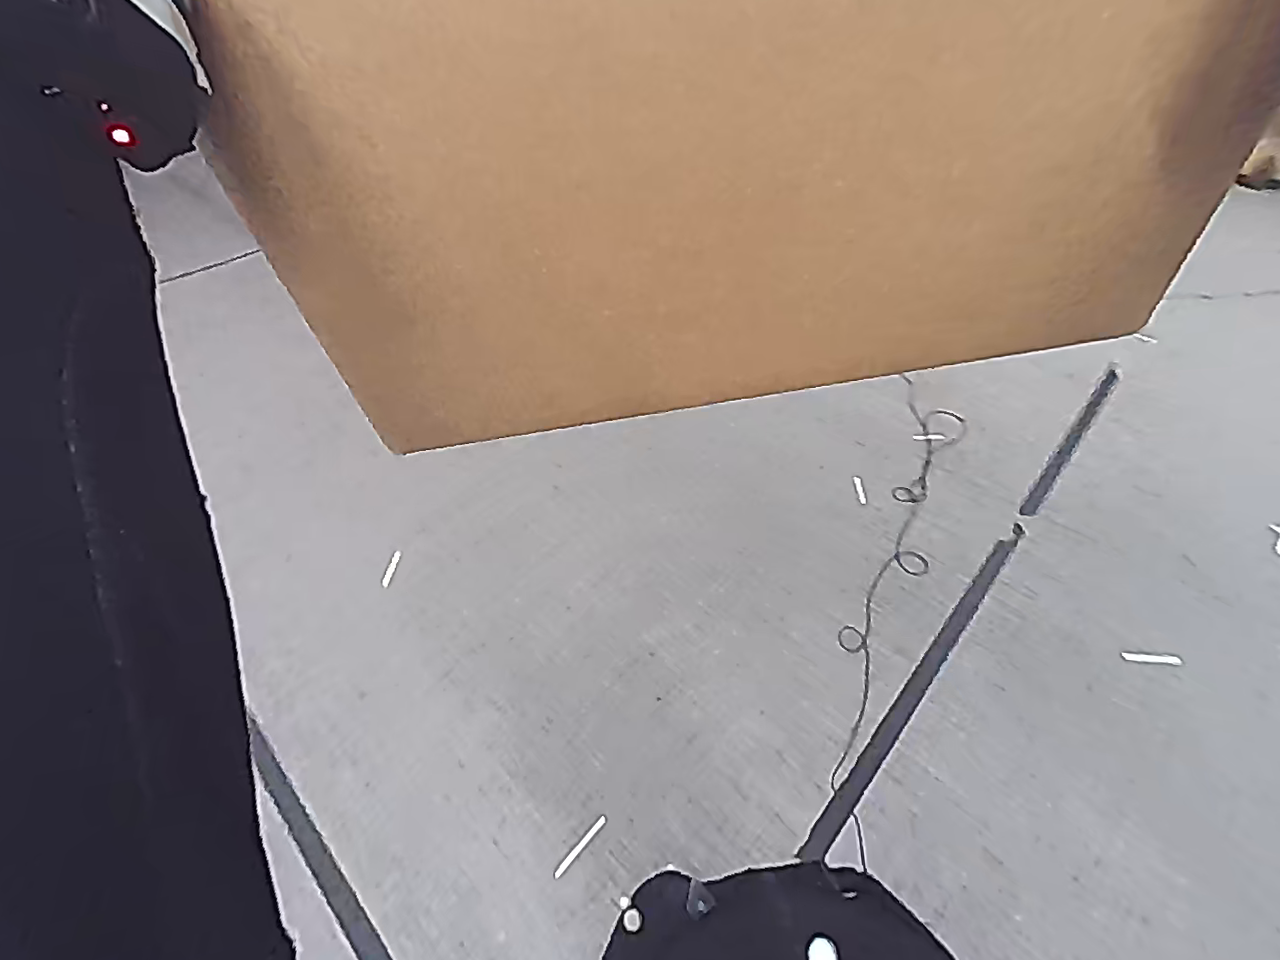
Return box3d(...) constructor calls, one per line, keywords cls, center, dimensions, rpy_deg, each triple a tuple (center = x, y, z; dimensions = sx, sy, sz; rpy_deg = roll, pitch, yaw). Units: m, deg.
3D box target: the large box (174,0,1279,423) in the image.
box3d(cls="large box", center=(0.034, -0.265, 0.290), dimensions=(0.408, 0.320, 0.320), rpy_deg=(-8, 46, 0))
